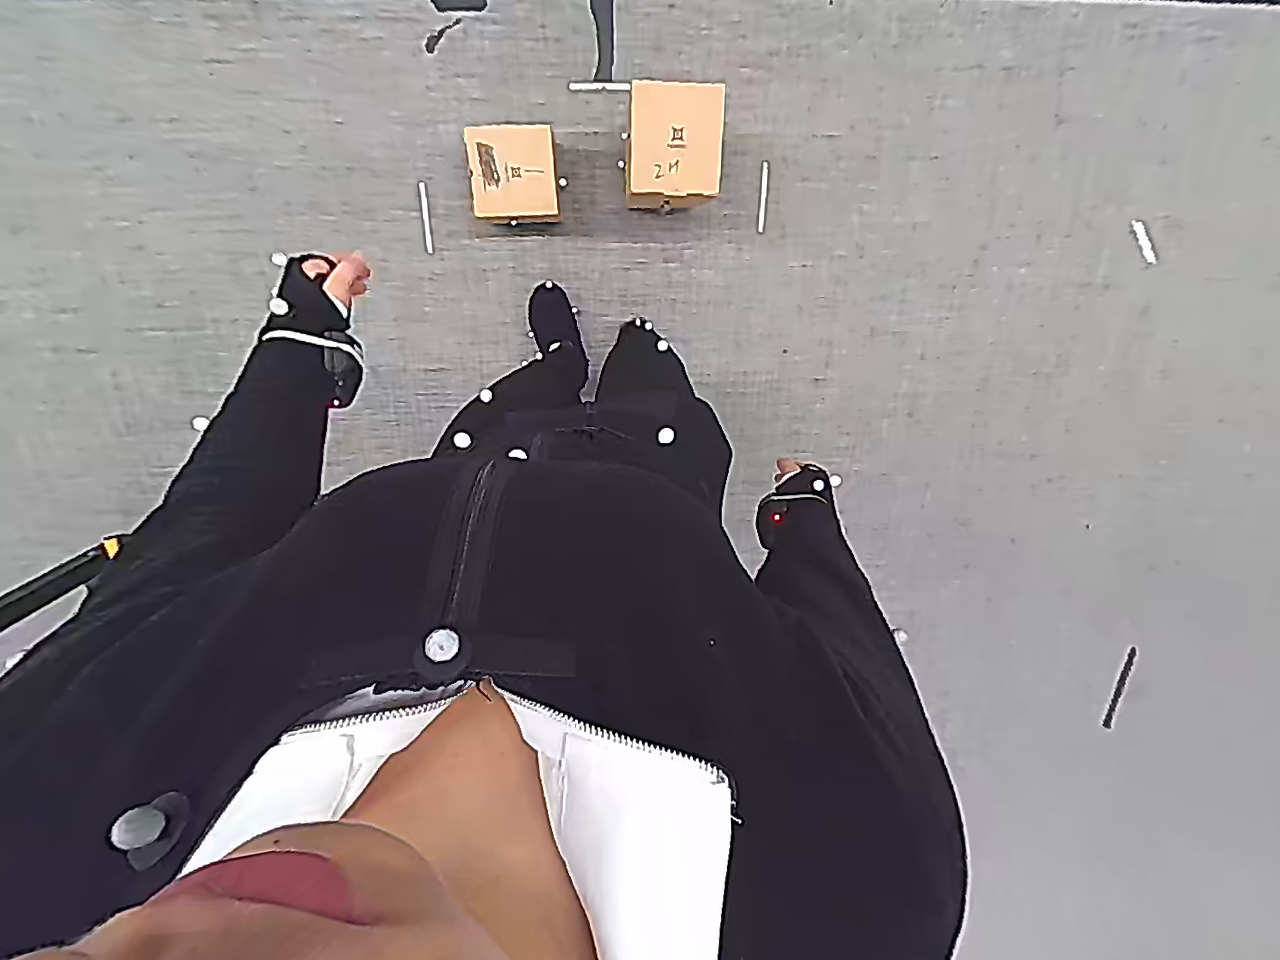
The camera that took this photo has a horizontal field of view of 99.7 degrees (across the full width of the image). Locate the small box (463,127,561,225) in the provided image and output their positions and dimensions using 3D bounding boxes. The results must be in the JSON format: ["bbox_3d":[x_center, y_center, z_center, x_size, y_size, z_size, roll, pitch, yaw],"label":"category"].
[{"bbox_3d":[-0.271,-0.656,1.183,0.179,0.176,0.168,-4,111,-4],"label":"small box"}]

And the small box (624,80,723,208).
[{"bbox_3d":[0.056,-0.634,1.039,0.168,0.176,0.179,0,111,-4],"label":"small box"}]
